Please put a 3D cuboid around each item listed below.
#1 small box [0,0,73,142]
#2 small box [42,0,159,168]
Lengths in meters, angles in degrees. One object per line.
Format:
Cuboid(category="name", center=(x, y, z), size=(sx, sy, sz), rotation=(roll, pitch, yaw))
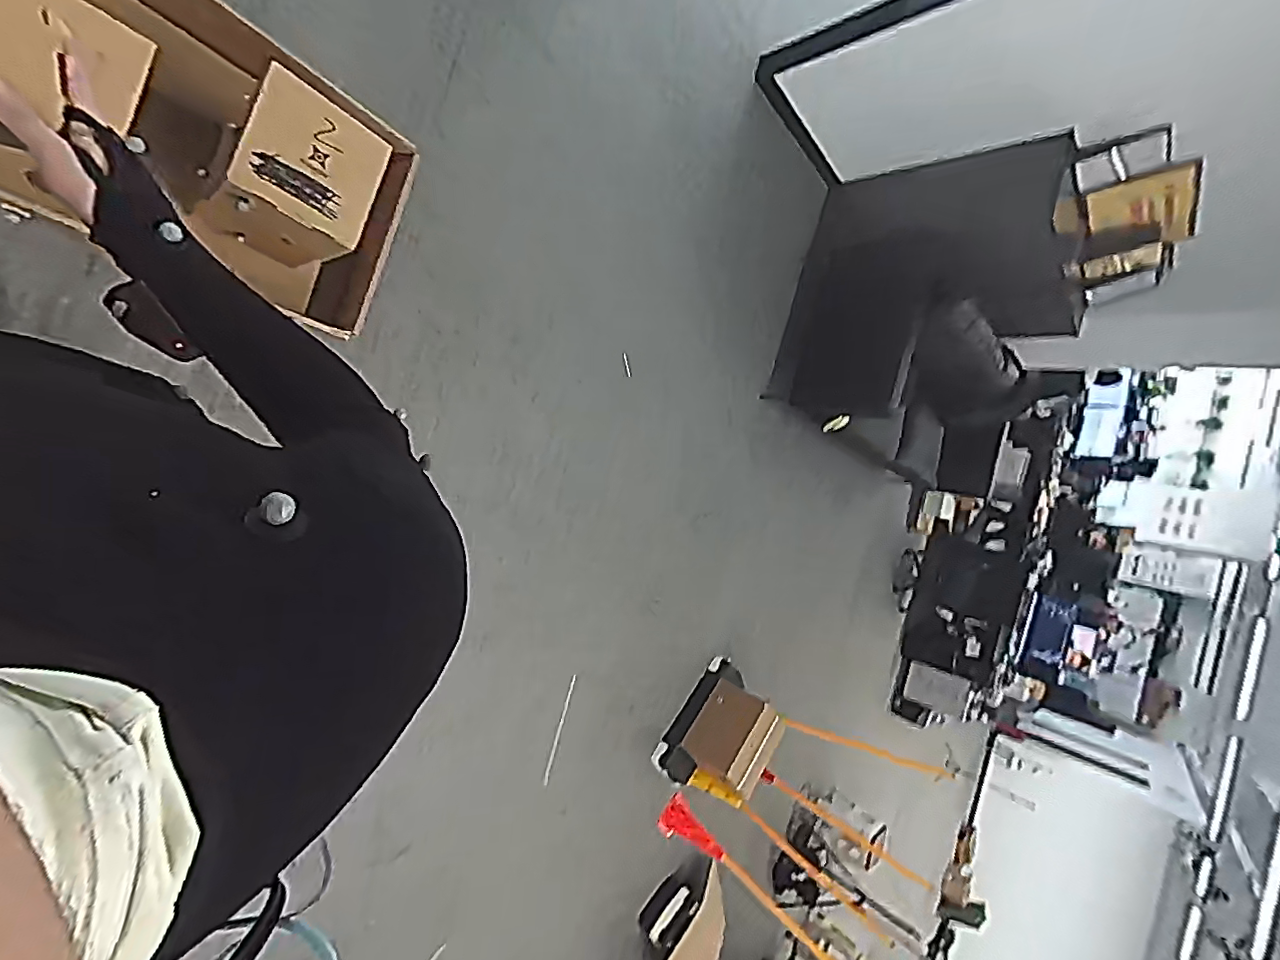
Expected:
Cuboid(category="small box", center=(-0.568, -0.371, 0.401), size=(0.179, 0.176, 0.168), rotation=(-11, 114, -49))
Cuboid(category="small box", center=(-0.797, -0.559, 0.731), size=(0.179, 0.176, 0.168), rotation=(20, 86, -48))
